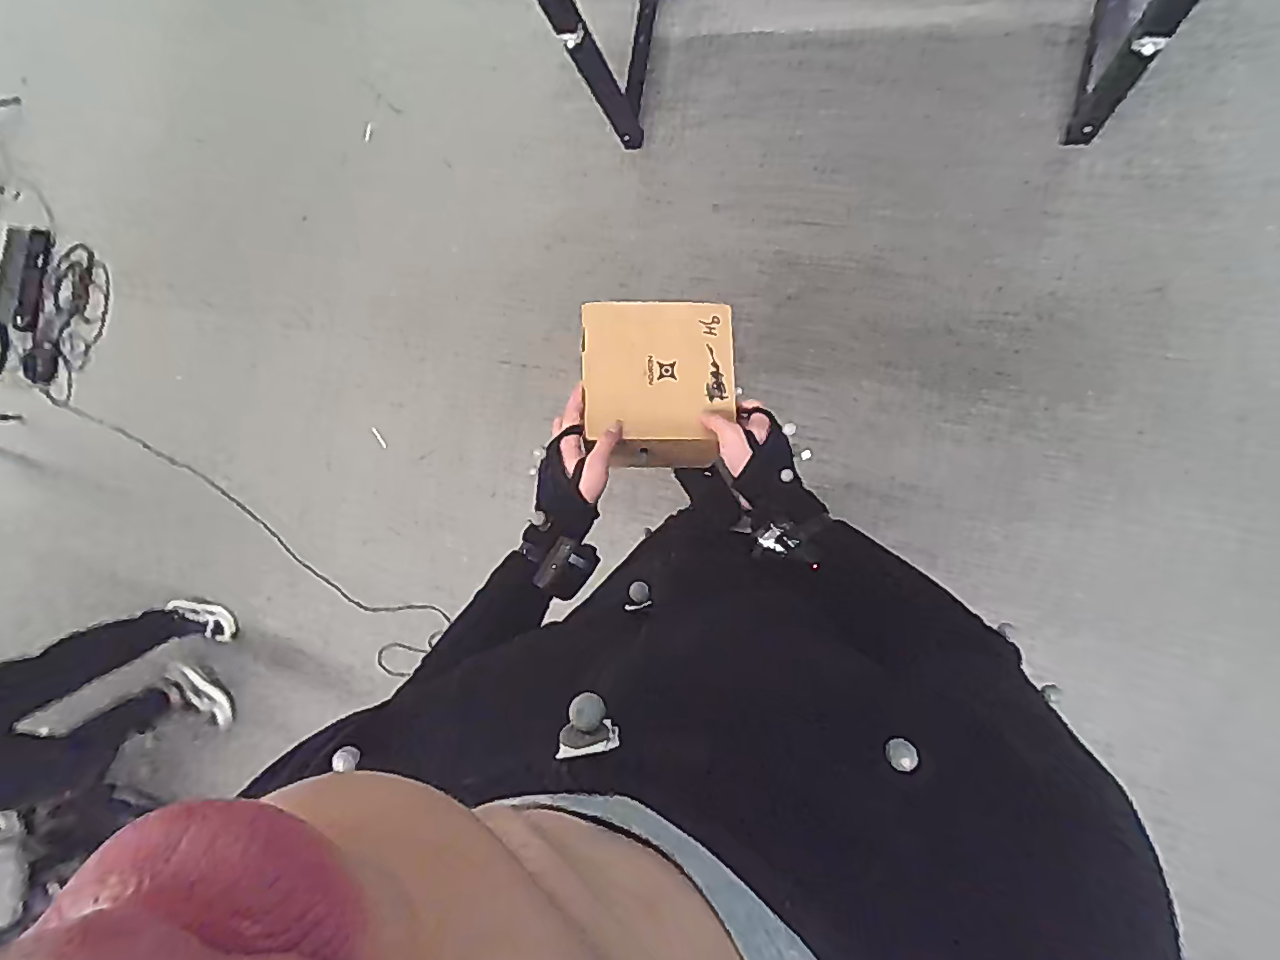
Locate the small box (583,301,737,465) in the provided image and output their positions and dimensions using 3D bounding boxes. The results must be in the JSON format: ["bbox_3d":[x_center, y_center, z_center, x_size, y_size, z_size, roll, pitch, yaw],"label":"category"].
[{"bbox_3d":[0.020,-0.113,0.696,0.179,0.176,0.168,0,81,-3],"label":"small box"}]
